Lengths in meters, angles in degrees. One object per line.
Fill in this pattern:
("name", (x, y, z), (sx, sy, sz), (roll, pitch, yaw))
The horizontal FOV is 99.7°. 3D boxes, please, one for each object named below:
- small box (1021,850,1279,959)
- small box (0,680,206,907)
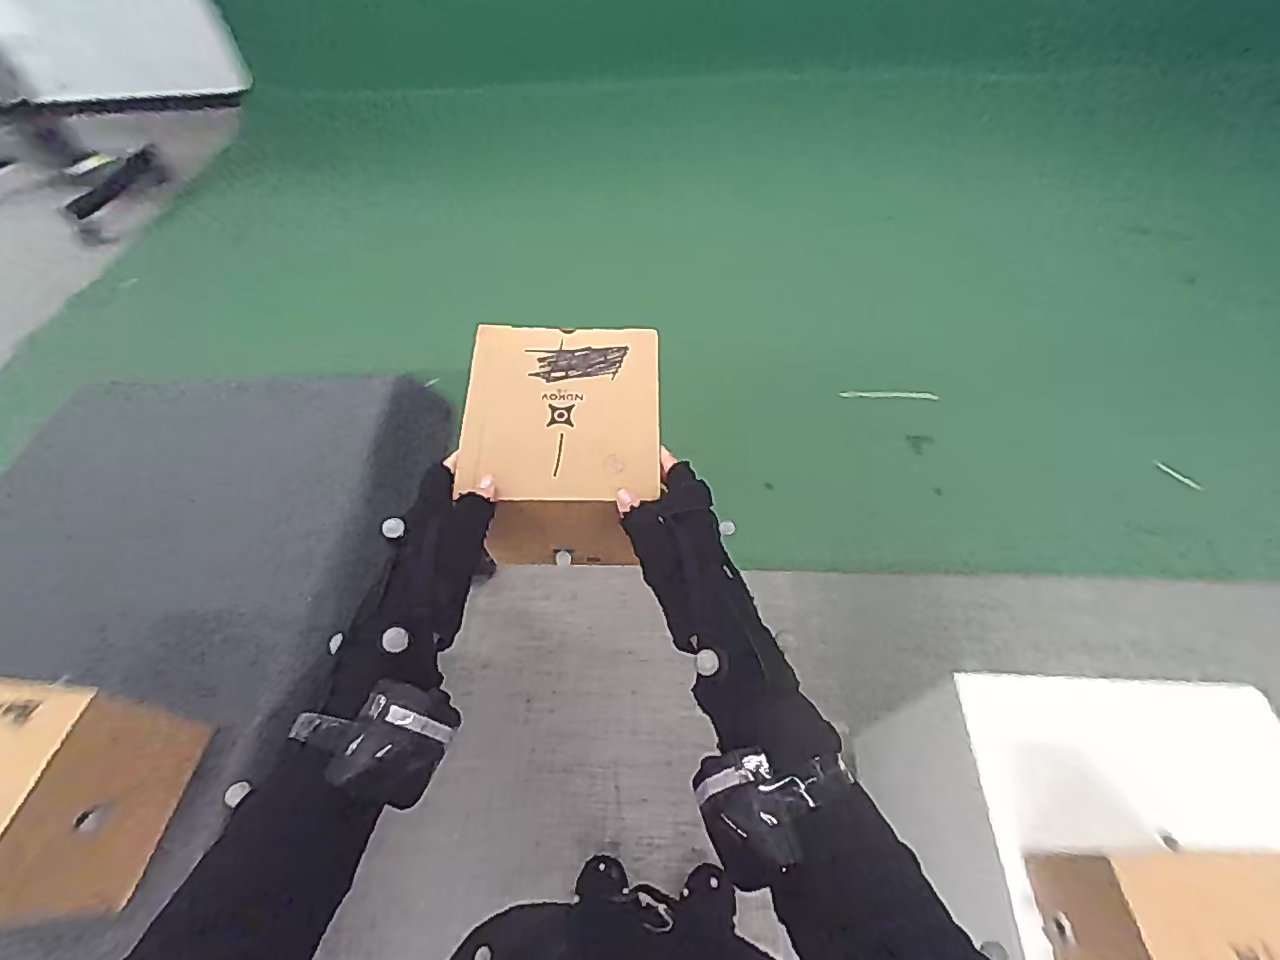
("small box", (0.528, 0.463, 0.527), (0.179, 0.176, 0.168), (-4, 55, 3))
("small box", (-0.603, 0.313, 0.546), (0.168, 0.176, 0.179), (3, 57, 7))
